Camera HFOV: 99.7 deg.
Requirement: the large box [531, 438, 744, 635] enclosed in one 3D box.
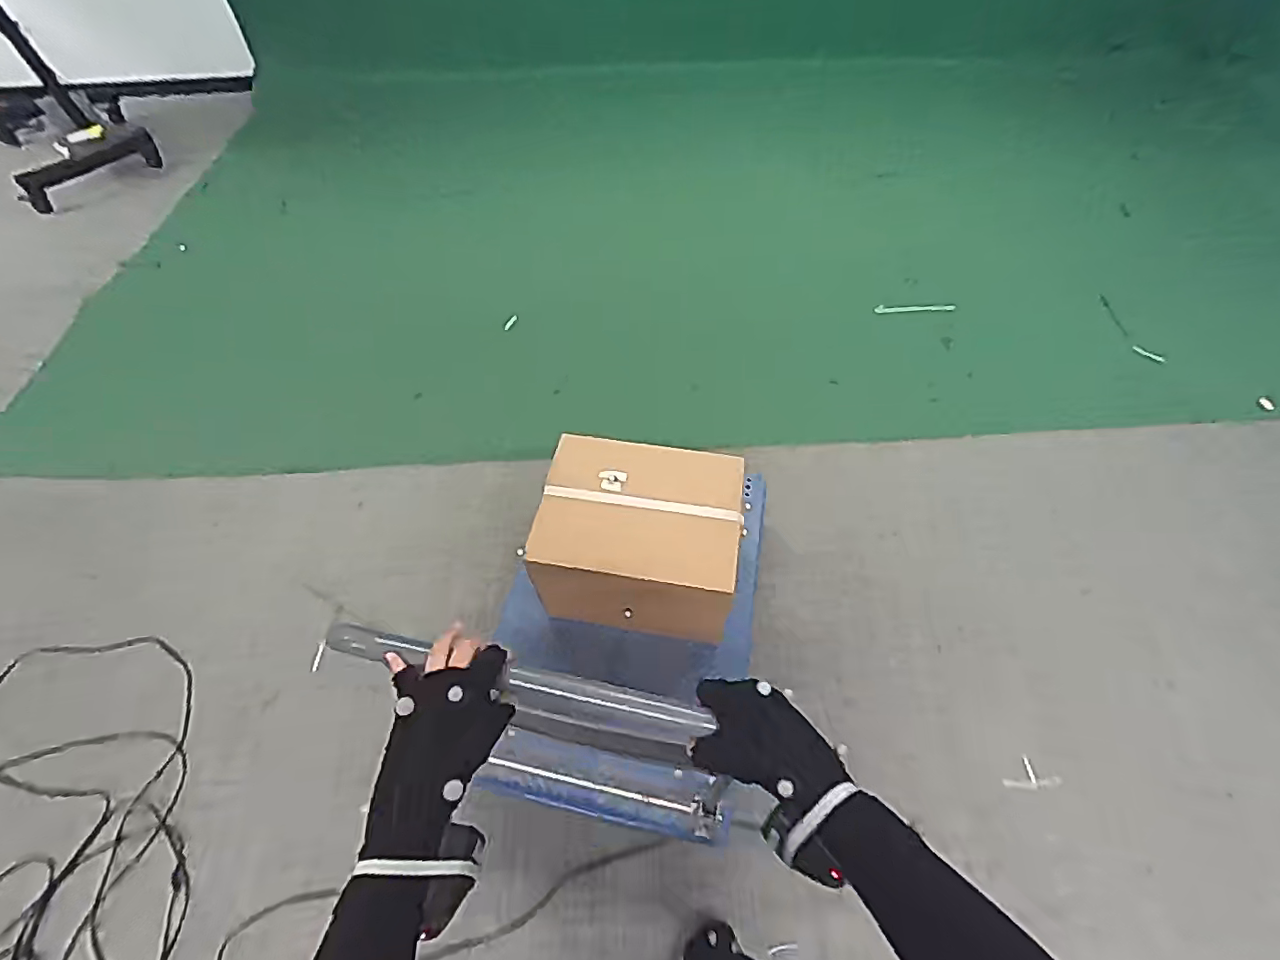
[{"bbox_3d":[0.014,0.134,1.225,0.408,0.320,0.320,7,55,7],"label":"large box"}]
